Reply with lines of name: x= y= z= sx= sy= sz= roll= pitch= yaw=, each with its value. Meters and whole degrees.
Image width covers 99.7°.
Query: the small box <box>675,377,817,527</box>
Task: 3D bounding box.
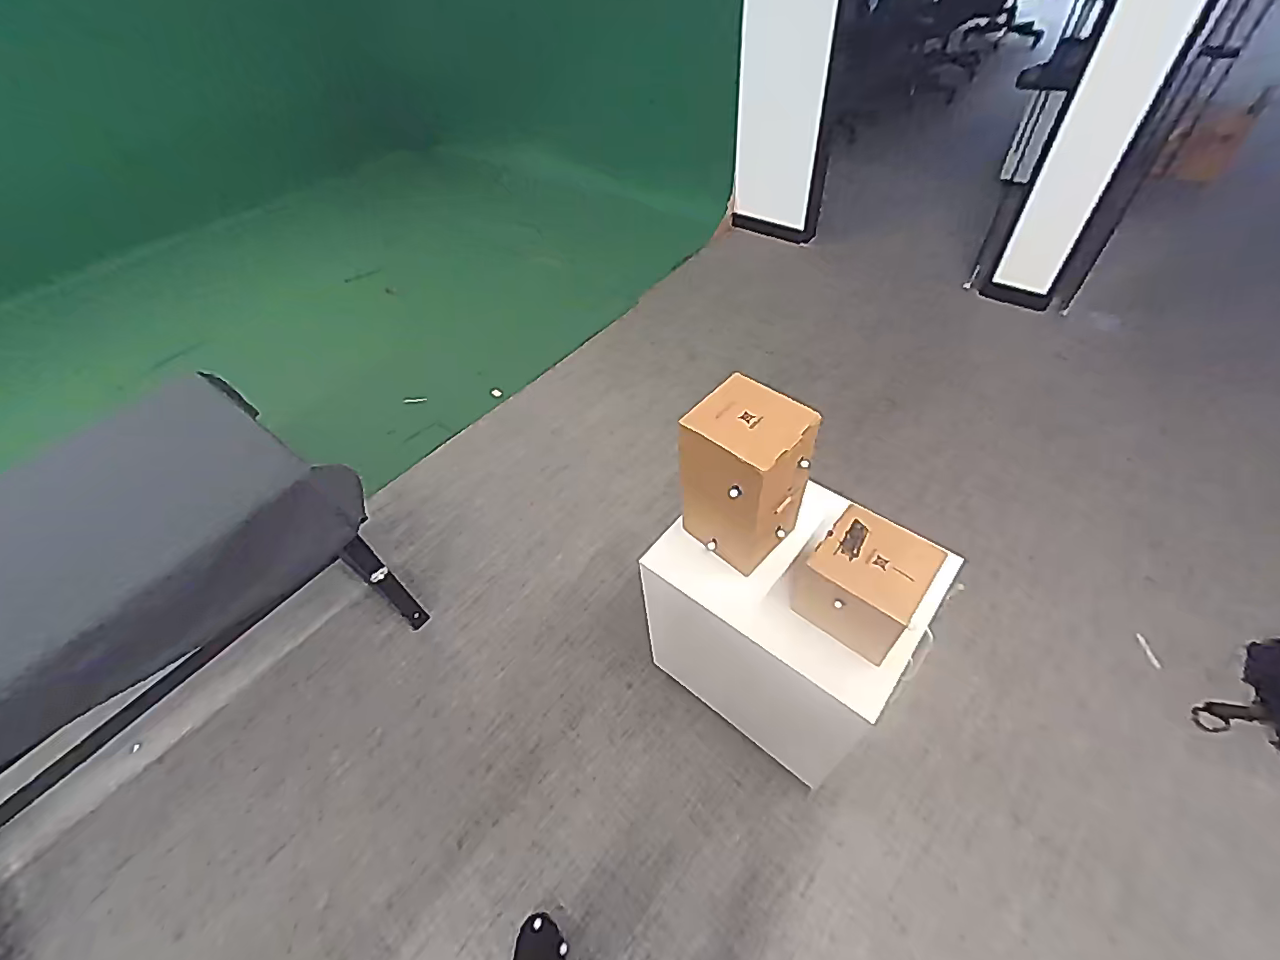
small box: x=0.178 y=-0.044 z=0.947 sx=0.179 sy=0.176 sz=0.168 roll=32 pitch=57 yaw=27

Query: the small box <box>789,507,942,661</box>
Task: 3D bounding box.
small box: x=0.386 y=0.186 z=0.955 sx=0.179 sy=0.176 sz=0.168 roll=31 pitch=58 yaw=26
